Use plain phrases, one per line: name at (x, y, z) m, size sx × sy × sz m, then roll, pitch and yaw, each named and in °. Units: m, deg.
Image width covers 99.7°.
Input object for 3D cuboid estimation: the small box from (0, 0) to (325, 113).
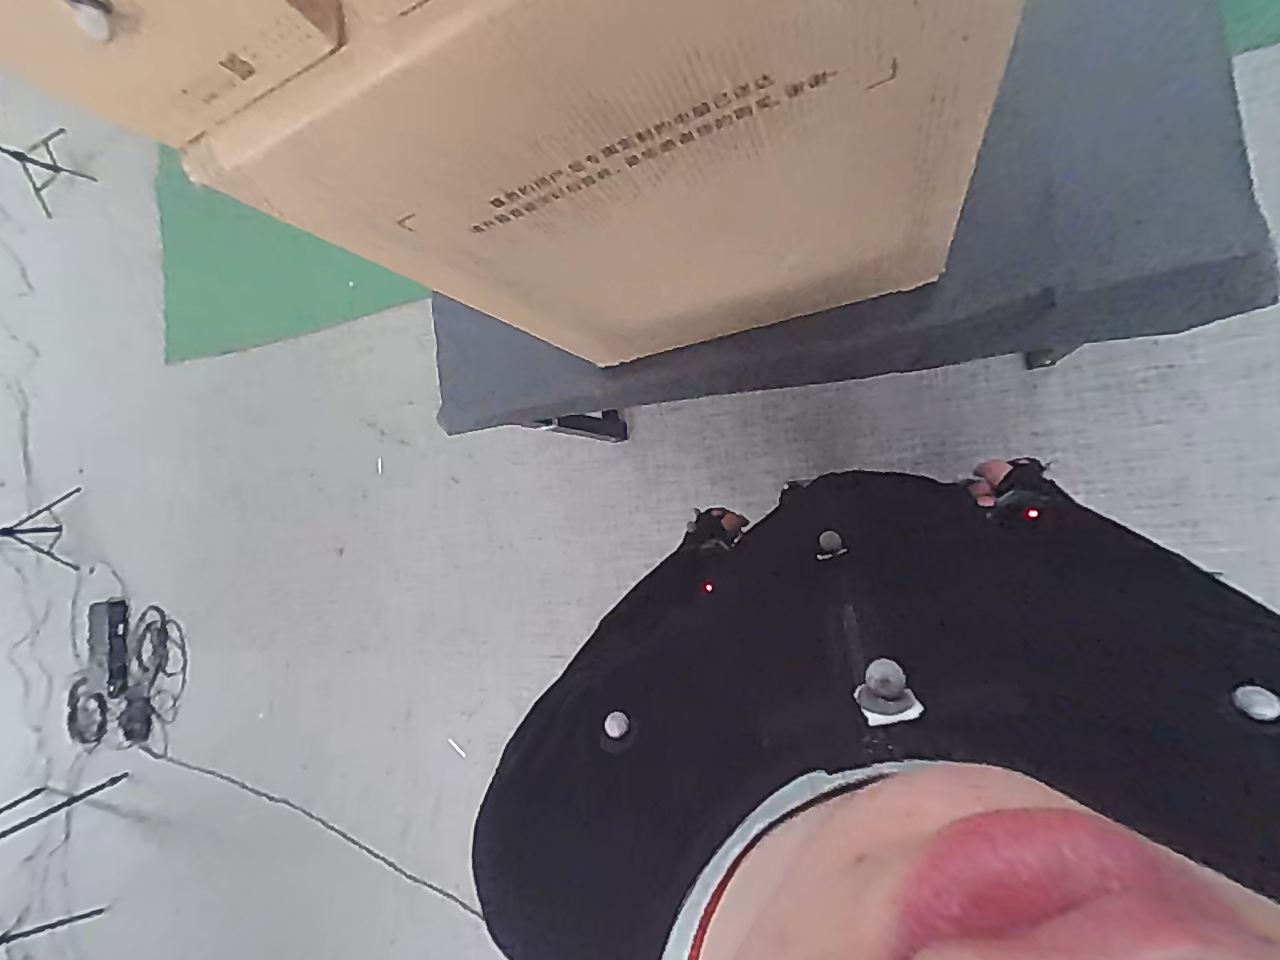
small box at (-0.284, -0.326, 0.267) m, size 0.168 × 0.176 × 0.179 m, roll -8°, pitch 87°, yaw 23°
